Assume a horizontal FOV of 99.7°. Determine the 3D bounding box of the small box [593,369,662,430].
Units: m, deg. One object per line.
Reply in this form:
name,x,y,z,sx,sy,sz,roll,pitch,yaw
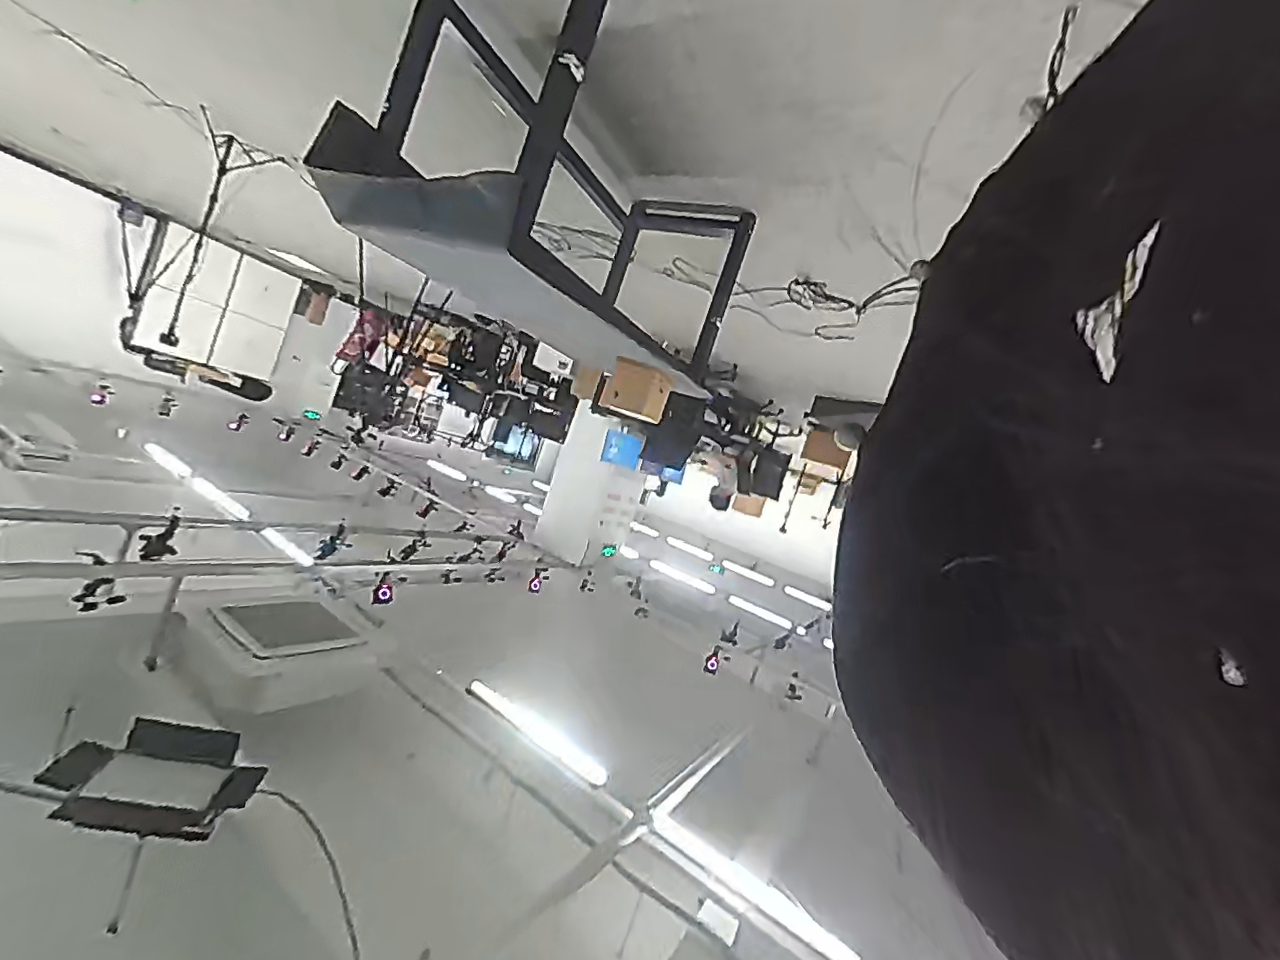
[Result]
small box,-0.042,-0.302,2.017,0.179,0.176,0.168,20,-179,24
